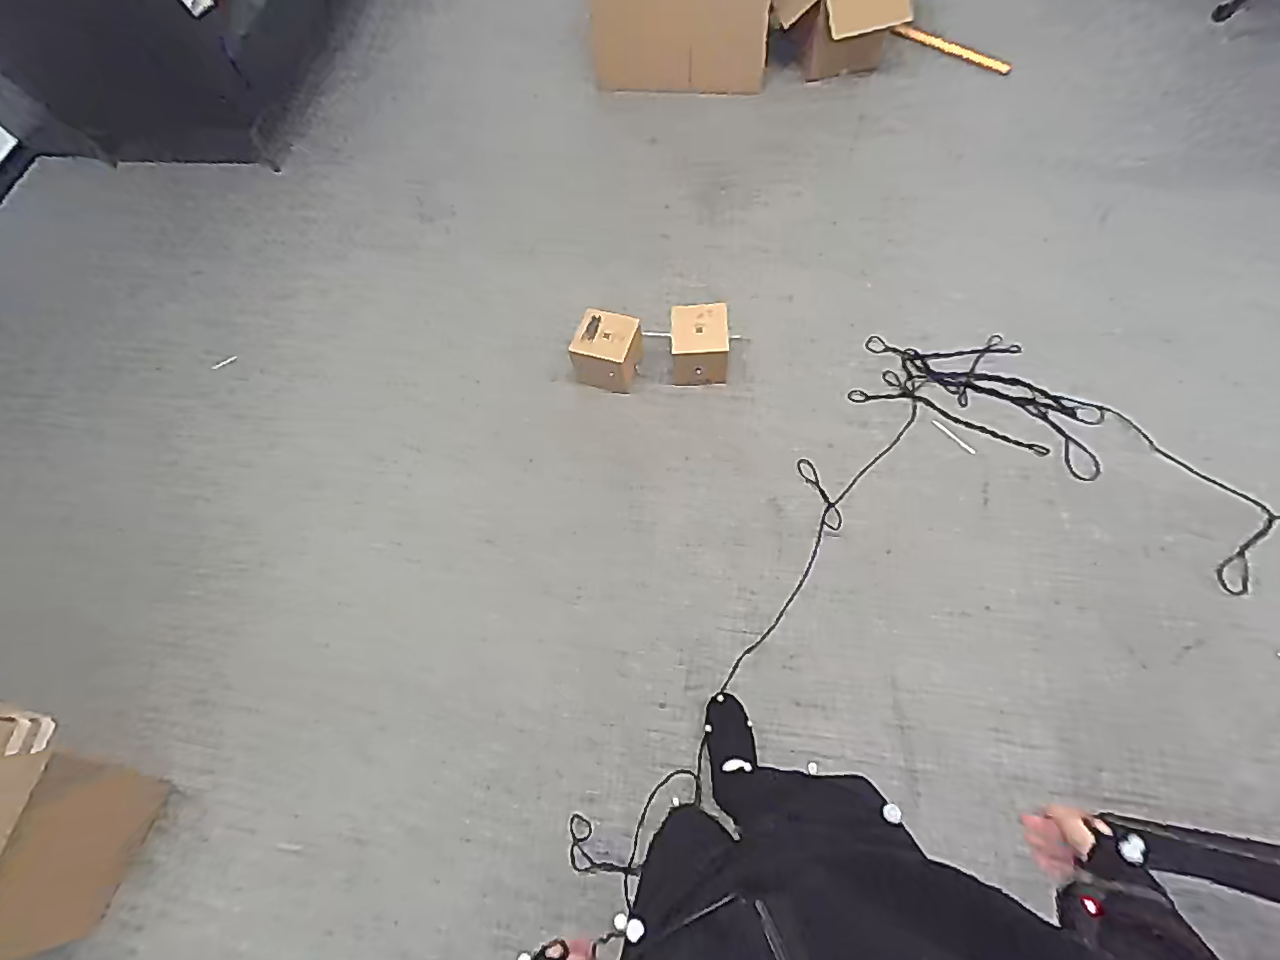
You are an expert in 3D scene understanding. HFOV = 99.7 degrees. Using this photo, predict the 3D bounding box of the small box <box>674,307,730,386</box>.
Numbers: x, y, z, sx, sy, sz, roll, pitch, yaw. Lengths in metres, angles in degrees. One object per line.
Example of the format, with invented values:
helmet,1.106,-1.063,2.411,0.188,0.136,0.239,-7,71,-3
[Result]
small box,0.191,-0.400,1.651,0.168,0.176,0.179,-1,65,6
